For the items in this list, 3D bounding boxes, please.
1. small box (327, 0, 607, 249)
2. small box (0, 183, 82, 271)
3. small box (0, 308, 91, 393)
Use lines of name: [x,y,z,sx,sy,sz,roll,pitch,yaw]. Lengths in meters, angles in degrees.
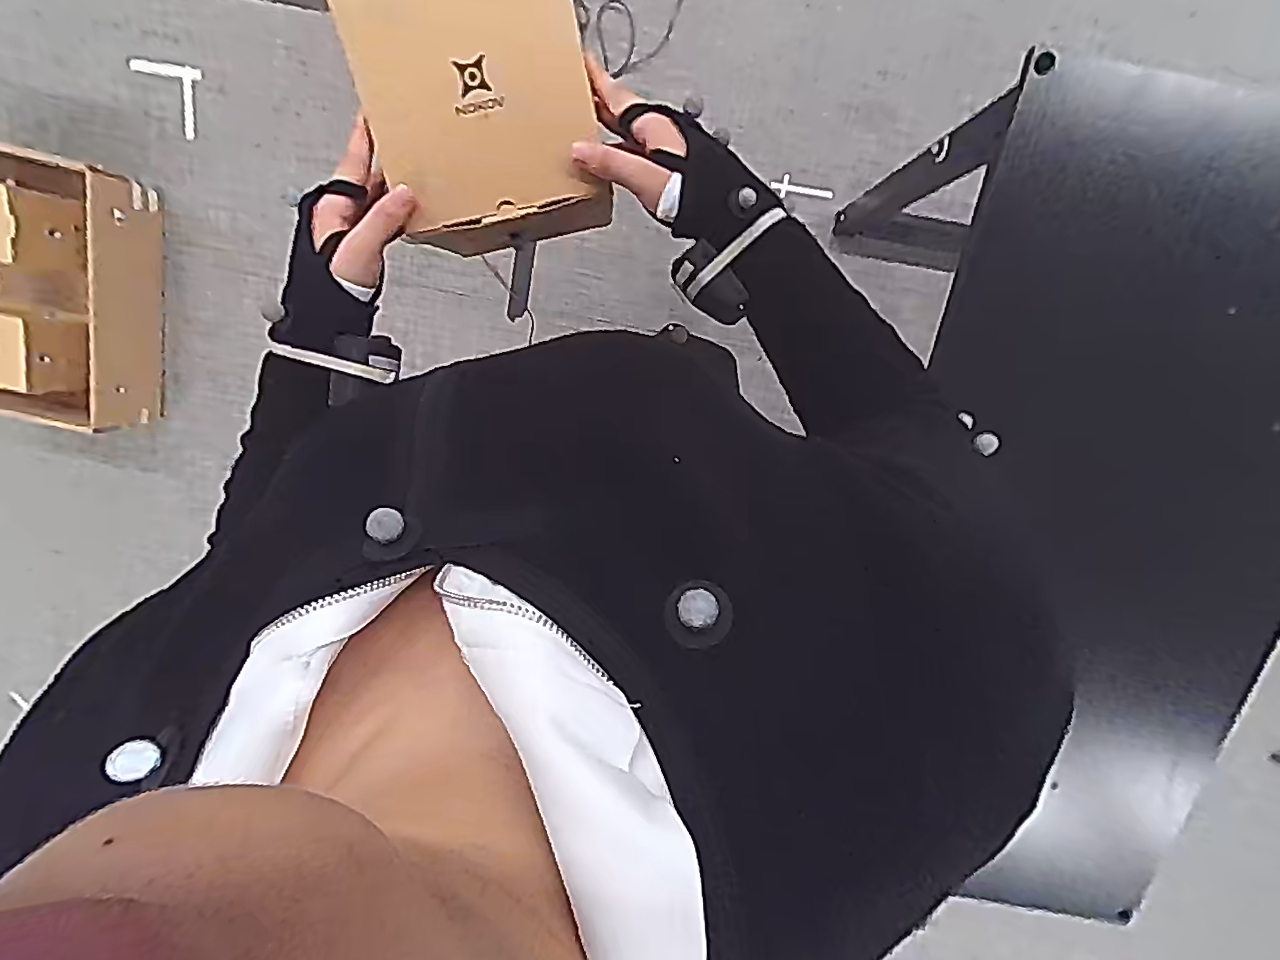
small box: [-0.127,-0.313,0.462,0.168,0.176,0.179,-13,109,1]
small box: [-1.475,-0.600,1.270,0.179,0.176,0.168,14,105,-4]
small box: [-1.523,-0.322,1.340,0.168,0.176,0.179,11,102,-4]
